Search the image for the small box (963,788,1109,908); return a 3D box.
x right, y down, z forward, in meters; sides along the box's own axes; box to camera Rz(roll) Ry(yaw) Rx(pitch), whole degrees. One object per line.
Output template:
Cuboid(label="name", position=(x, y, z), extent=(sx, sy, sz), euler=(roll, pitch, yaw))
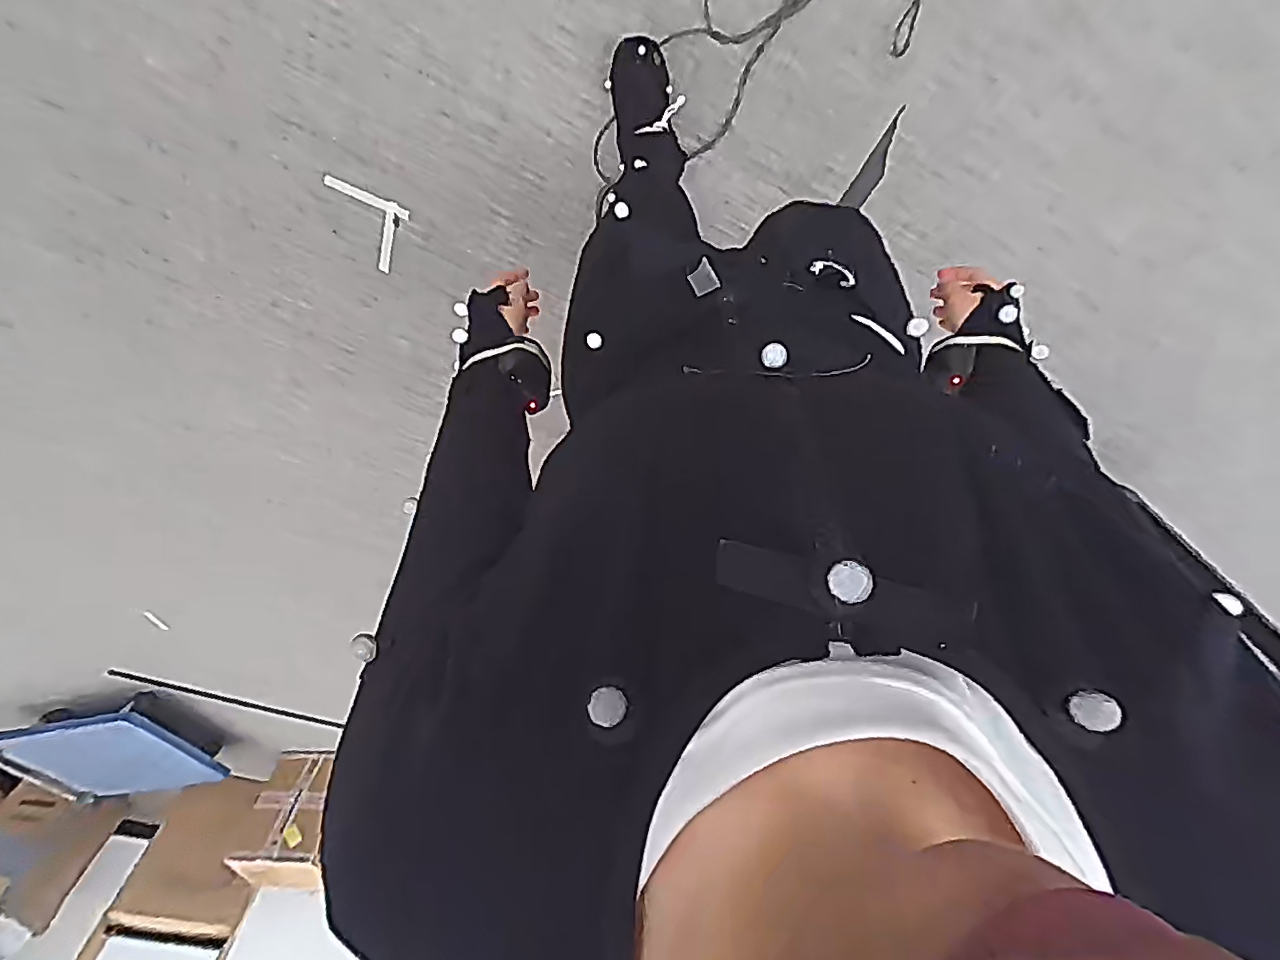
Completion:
Cuboid(label="small box", position=(0.861, 0.819, 1.203), extent=(0.168, 0.176, 0.179), euler=(20, 127, -14))
